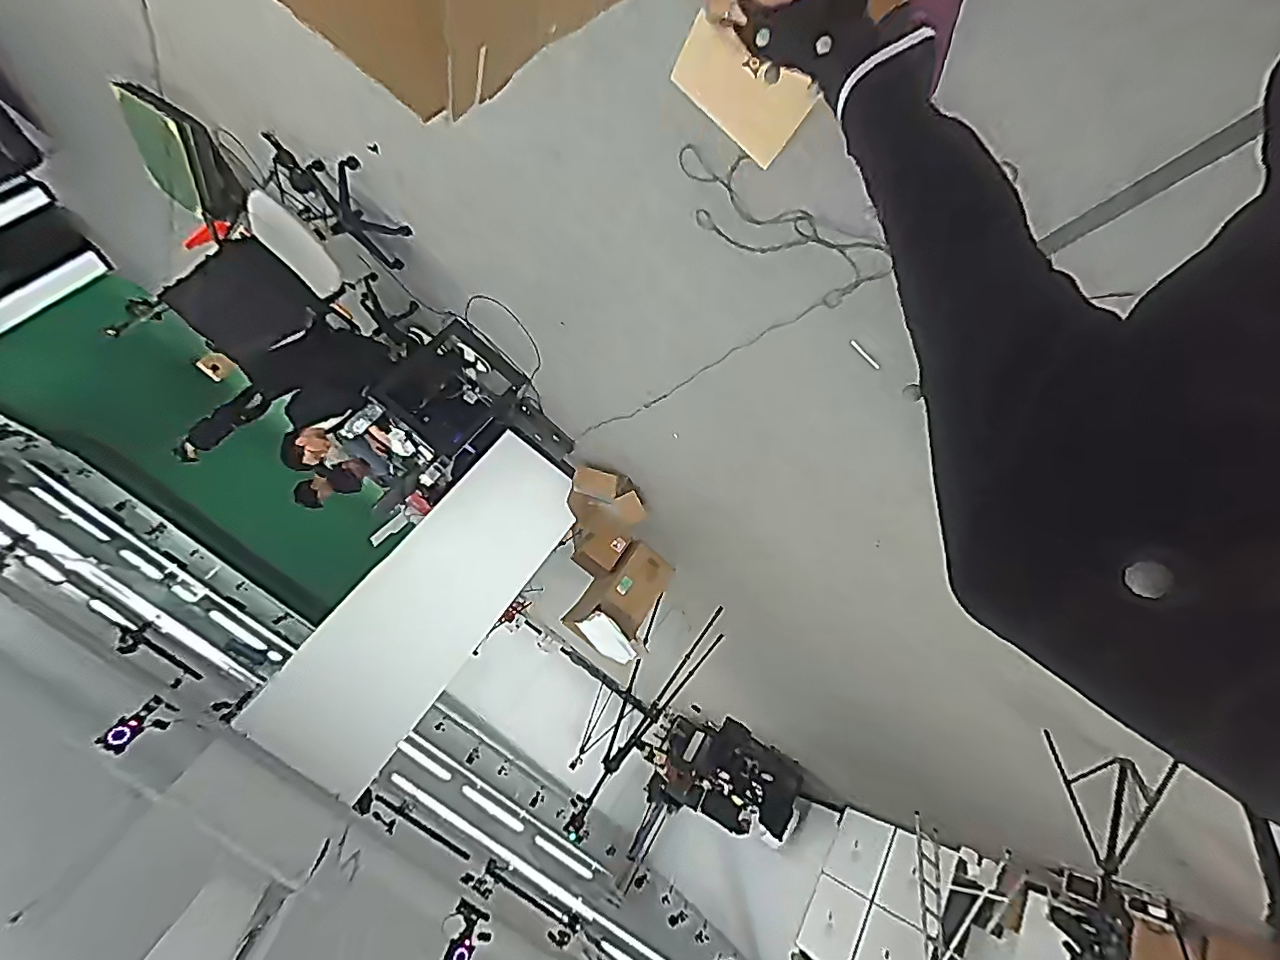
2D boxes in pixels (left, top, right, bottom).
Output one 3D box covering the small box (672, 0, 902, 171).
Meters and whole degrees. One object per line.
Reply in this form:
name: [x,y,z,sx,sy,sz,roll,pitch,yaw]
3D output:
small box: [0.173,-0.524,0.639,0.168,0.176,0.179,40,153,-7]
